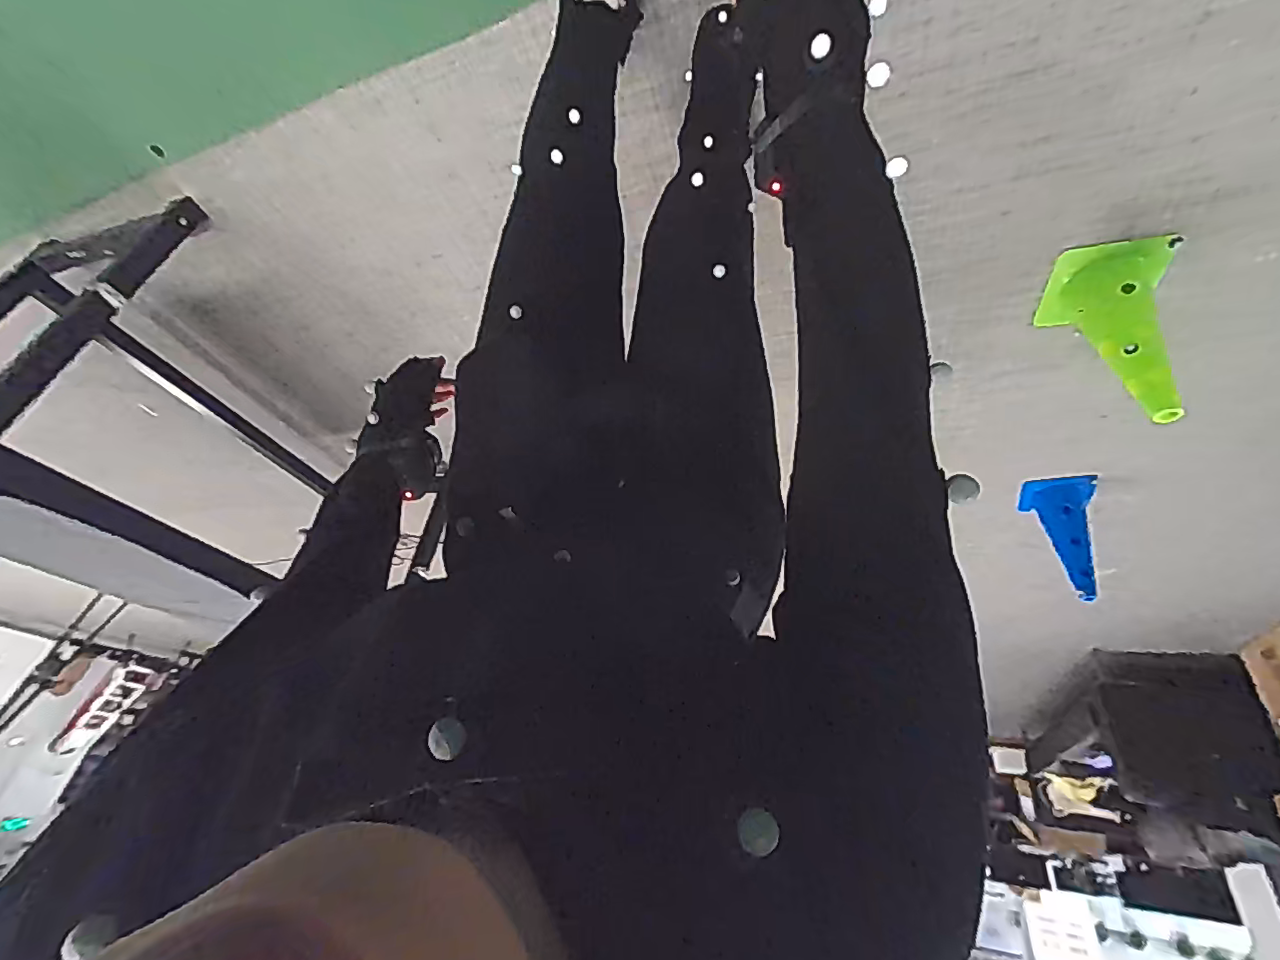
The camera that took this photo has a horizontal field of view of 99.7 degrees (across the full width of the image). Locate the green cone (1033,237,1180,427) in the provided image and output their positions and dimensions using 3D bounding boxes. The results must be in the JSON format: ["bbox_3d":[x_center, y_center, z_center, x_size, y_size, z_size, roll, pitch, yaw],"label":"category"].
[{"bbox_3d":[0.933,-0.258,1.033,0.200,0.368,0.202,-3,146,18],"label":"green cone"}]
